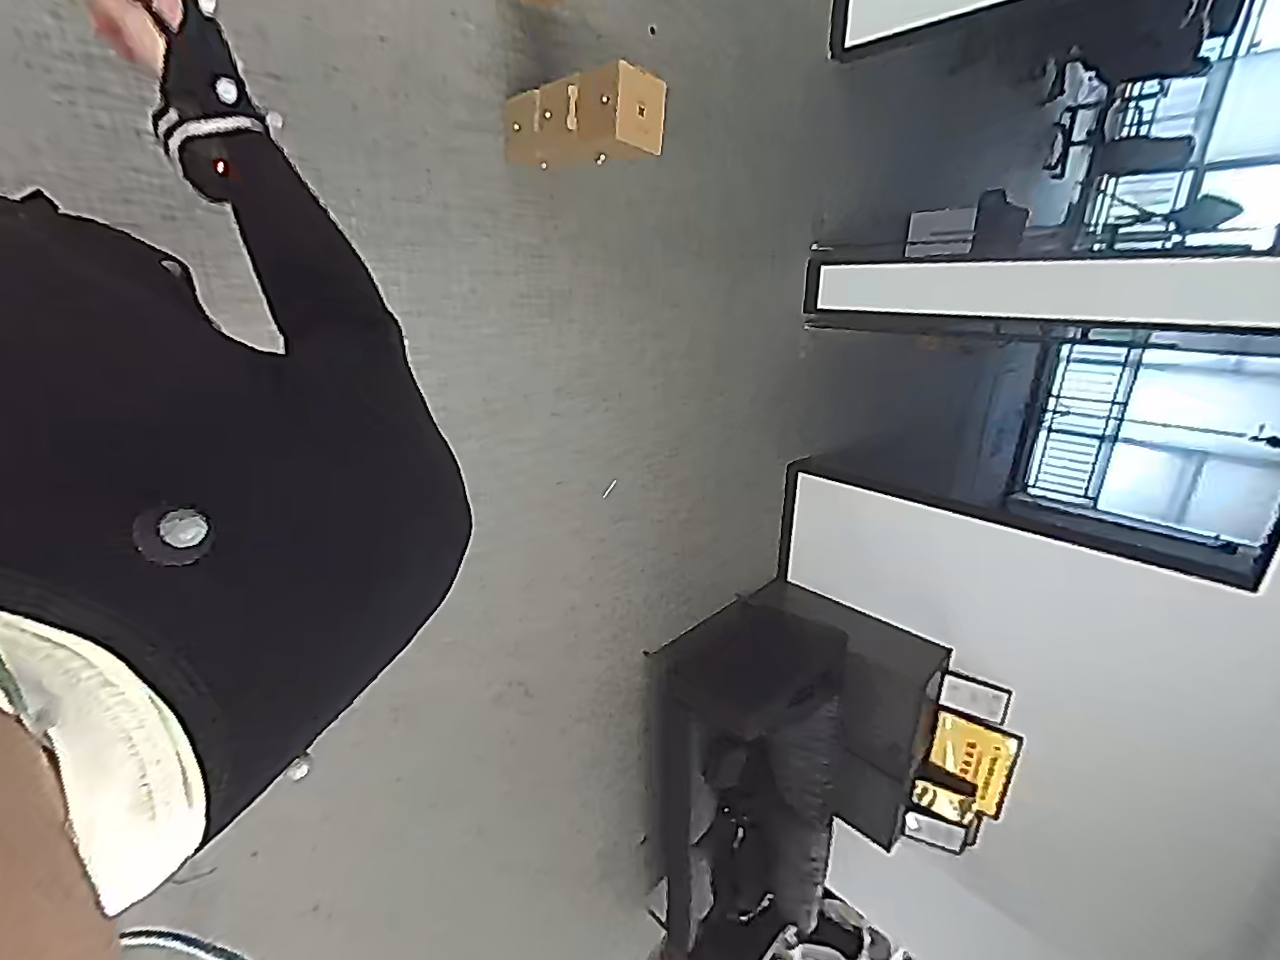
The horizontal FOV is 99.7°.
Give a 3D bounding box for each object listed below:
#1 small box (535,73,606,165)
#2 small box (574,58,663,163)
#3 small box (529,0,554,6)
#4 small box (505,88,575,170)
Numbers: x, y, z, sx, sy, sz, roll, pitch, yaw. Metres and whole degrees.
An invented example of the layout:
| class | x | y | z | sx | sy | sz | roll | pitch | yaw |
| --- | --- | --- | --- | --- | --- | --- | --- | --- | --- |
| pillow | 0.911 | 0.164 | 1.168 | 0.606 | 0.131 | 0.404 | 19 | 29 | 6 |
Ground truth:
| class | x | y | z | sx | sy | sz | roll | pitch | yaw |
| --- | --- | --- | --- | --- | --- | --- | --- | --- | --- |
| small box | -0.176 | -1.018 | 1.543 | 0.179 | 0.176 | 0.168 | -10 | 111 | -45 |
| small box | -0.062 | -0.970 | 1.437 | 0.168 | 0.176 | 0.179 | -10 | 112 | -44 |
| small box | -0.287 | -1.470 | 1.501 | 0.179 | 0.176 | 0.168 | -13 | 114 | -45 |
| small box | -0.299 | -1.057 | 1.645 | 0.179 | 0.176 | 0.168 | -15 | 116 | -42 |
